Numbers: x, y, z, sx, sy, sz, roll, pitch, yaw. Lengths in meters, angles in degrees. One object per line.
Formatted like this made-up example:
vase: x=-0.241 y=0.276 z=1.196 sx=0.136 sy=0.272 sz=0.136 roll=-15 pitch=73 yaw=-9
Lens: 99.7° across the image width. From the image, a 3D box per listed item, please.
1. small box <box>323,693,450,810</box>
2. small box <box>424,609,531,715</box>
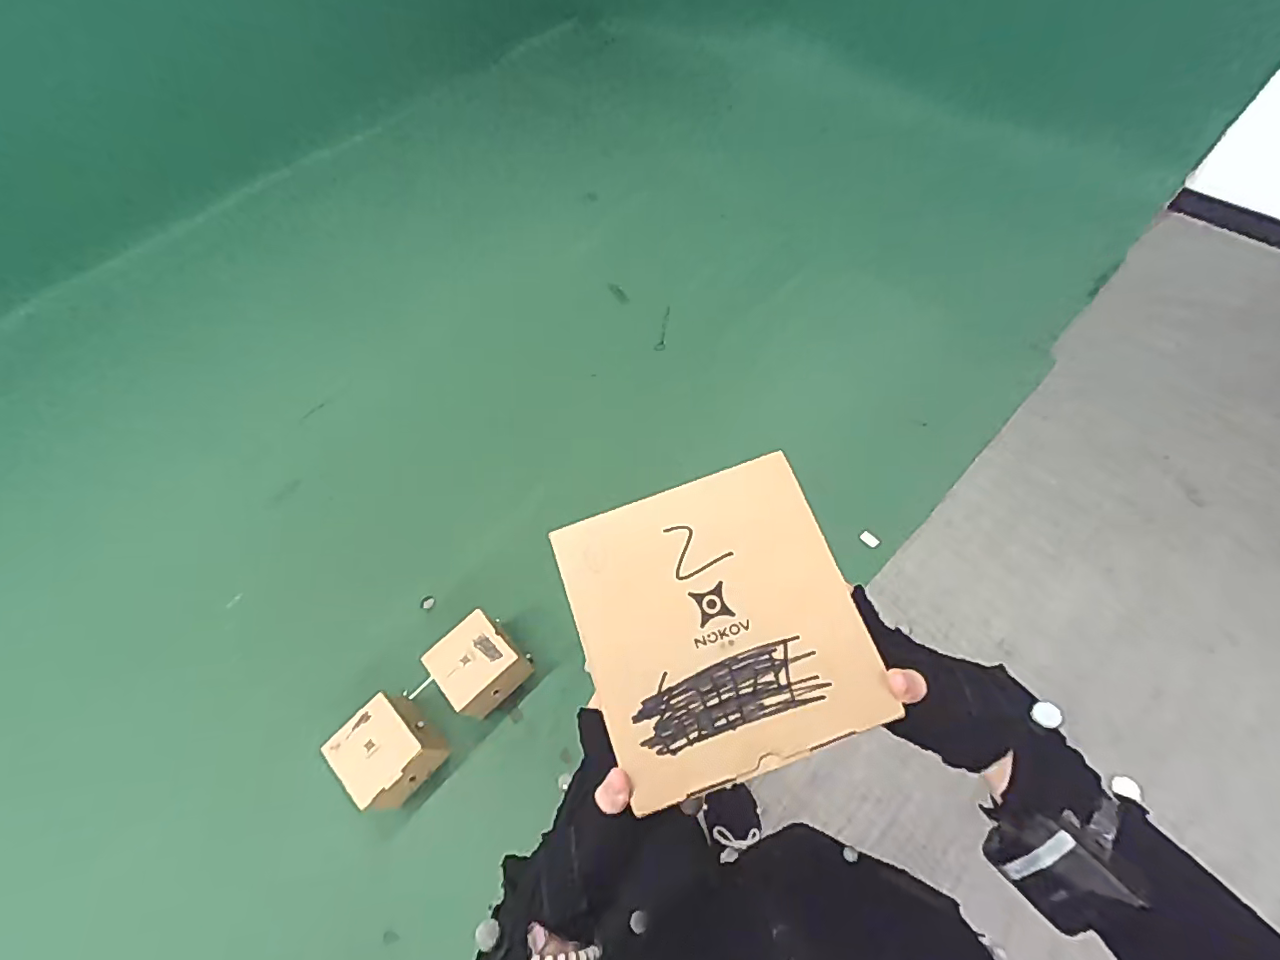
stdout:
small box: x=-0.578 y=0.623 z=1.256 sx=0.179 sy=0.176 sz=0.168 roll=40 pitch=72 yaw=21
small box: x=-0.387 y=0.451 z=1.329 sx=0.179 sy=0.176 sz=0.168 roll=-41 pitch=66 yaw=-15
